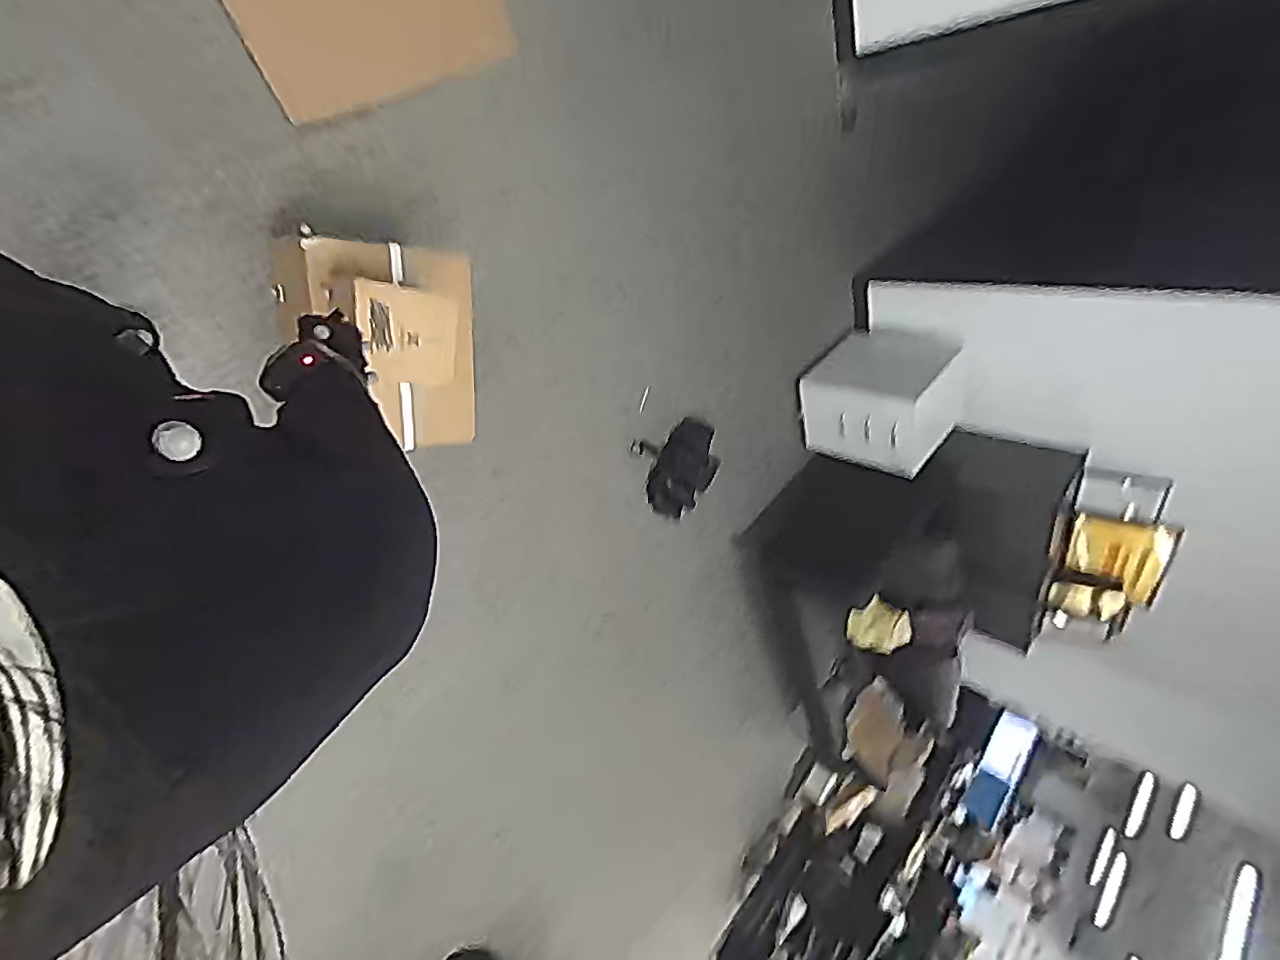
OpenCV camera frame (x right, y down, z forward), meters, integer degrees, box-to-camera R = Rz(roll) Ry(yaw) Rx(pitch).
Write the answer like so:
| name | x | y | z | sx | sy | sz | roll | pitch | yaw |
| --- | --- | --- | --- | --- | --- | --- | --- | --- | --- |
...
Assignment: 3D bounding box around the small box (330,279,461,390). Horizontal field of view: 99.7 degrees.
| name | x | y | z | sx | sy | sz | roll | pitch | yaw |
| --- | --- | --- | --- | --- | --- | --- | --- | --- | --- |
| small box | -0.452 | -0.264 | 0.989 | 0.179 | 0.176 | 0.168 | -3 | 109 | -43 |
